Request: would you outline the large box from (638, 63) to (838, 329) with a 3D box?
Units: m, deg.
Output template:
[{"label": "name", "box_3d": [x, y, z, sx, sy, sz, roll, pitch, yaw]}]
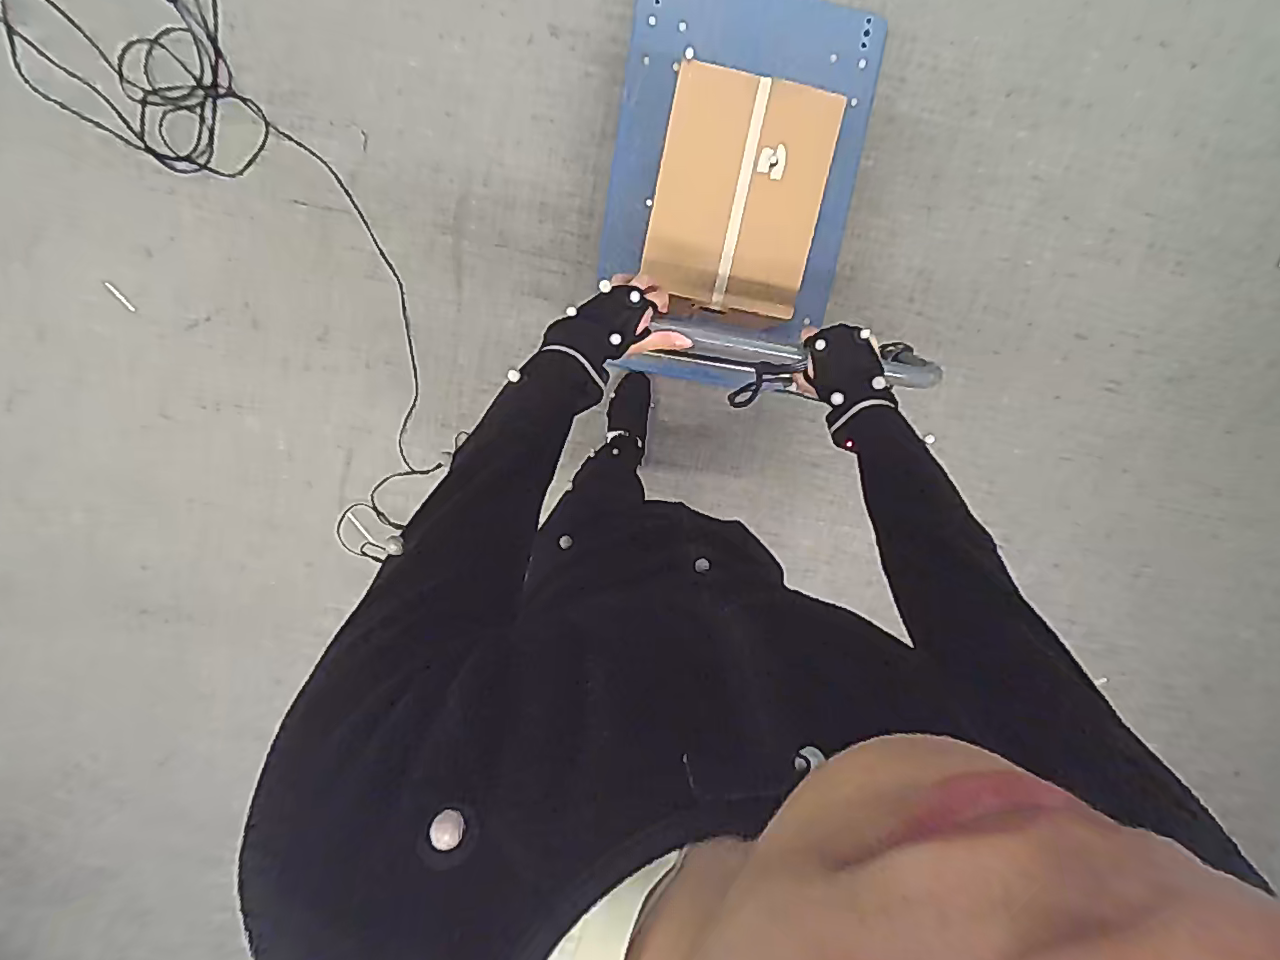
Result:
[{"label": "large box", "box_3d": [0.179, -0.566, 1.168, 0.320, 0.320, 0.408, 11, 100, -4]}]
